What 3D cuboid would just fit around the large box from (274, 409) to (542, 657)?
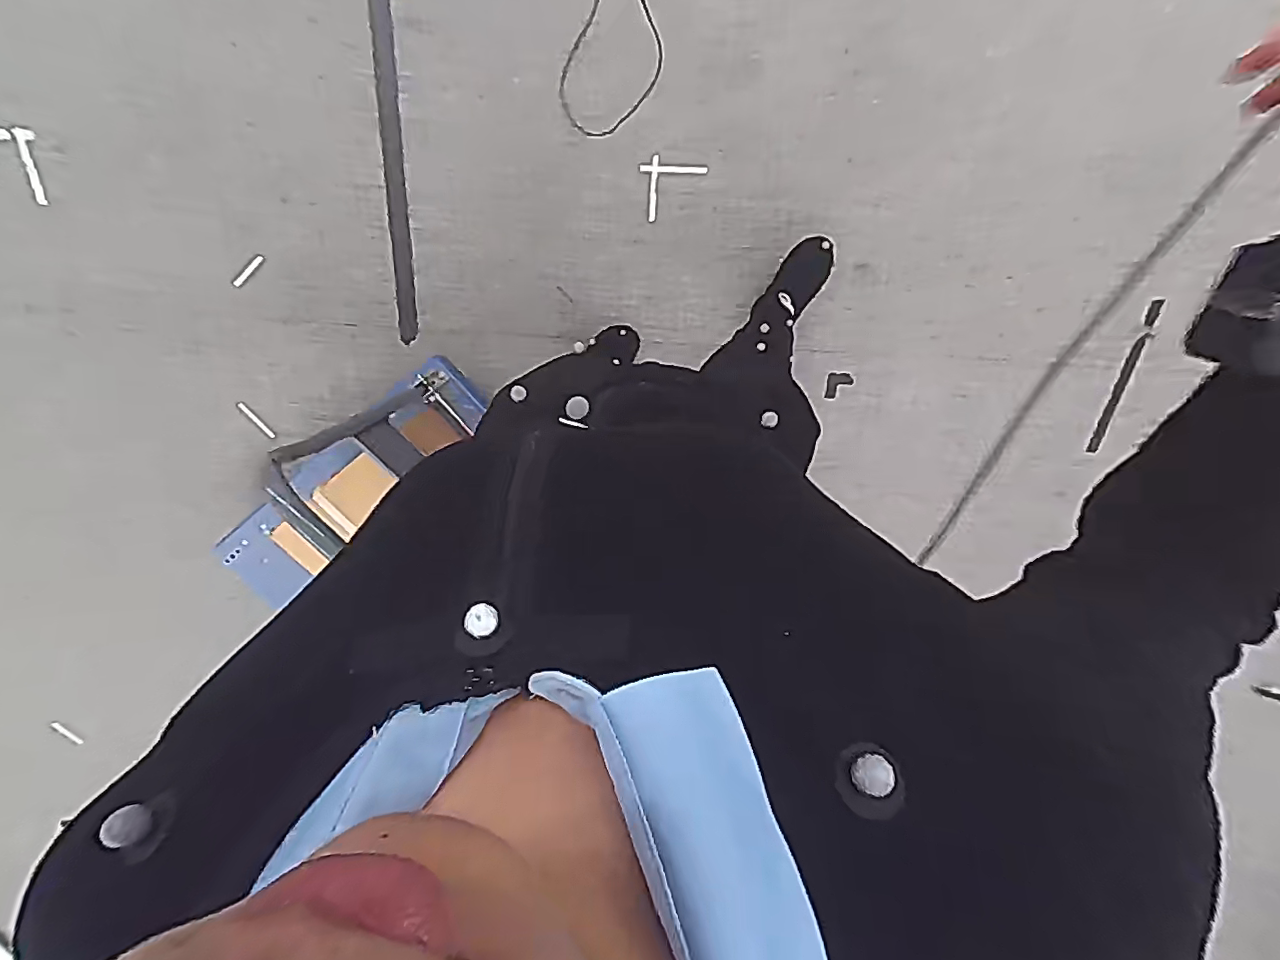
[{"bbox_3d":[-0.494,0.111,1.243,0.320,0.320,0.408,-36,106,13],"label":"large box"}]
